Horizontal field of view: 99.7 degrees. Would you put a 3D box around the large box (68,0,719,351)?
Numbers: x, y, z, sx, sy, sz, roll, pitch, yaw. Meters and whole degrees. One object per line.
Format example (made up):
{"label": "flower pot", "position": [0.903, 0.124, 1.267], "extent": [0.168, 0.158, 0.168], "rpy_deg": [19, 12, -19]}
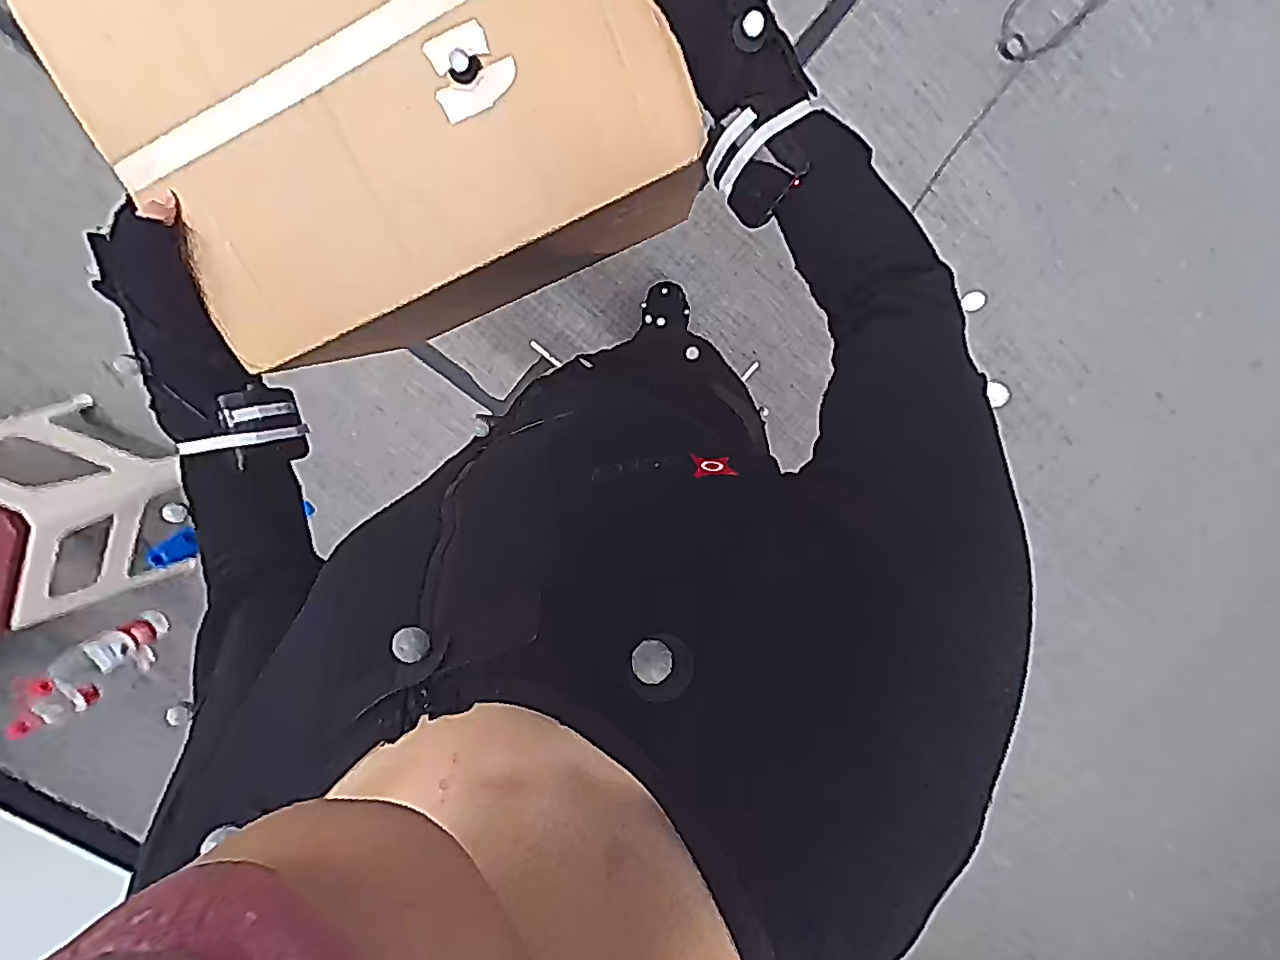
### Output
{"label": "large box", "position": [-0.176, -0.354, 0.527], "extent": [0.408, 0.320, 0.320], "rpy_deg": [-21, 106, 8]}
